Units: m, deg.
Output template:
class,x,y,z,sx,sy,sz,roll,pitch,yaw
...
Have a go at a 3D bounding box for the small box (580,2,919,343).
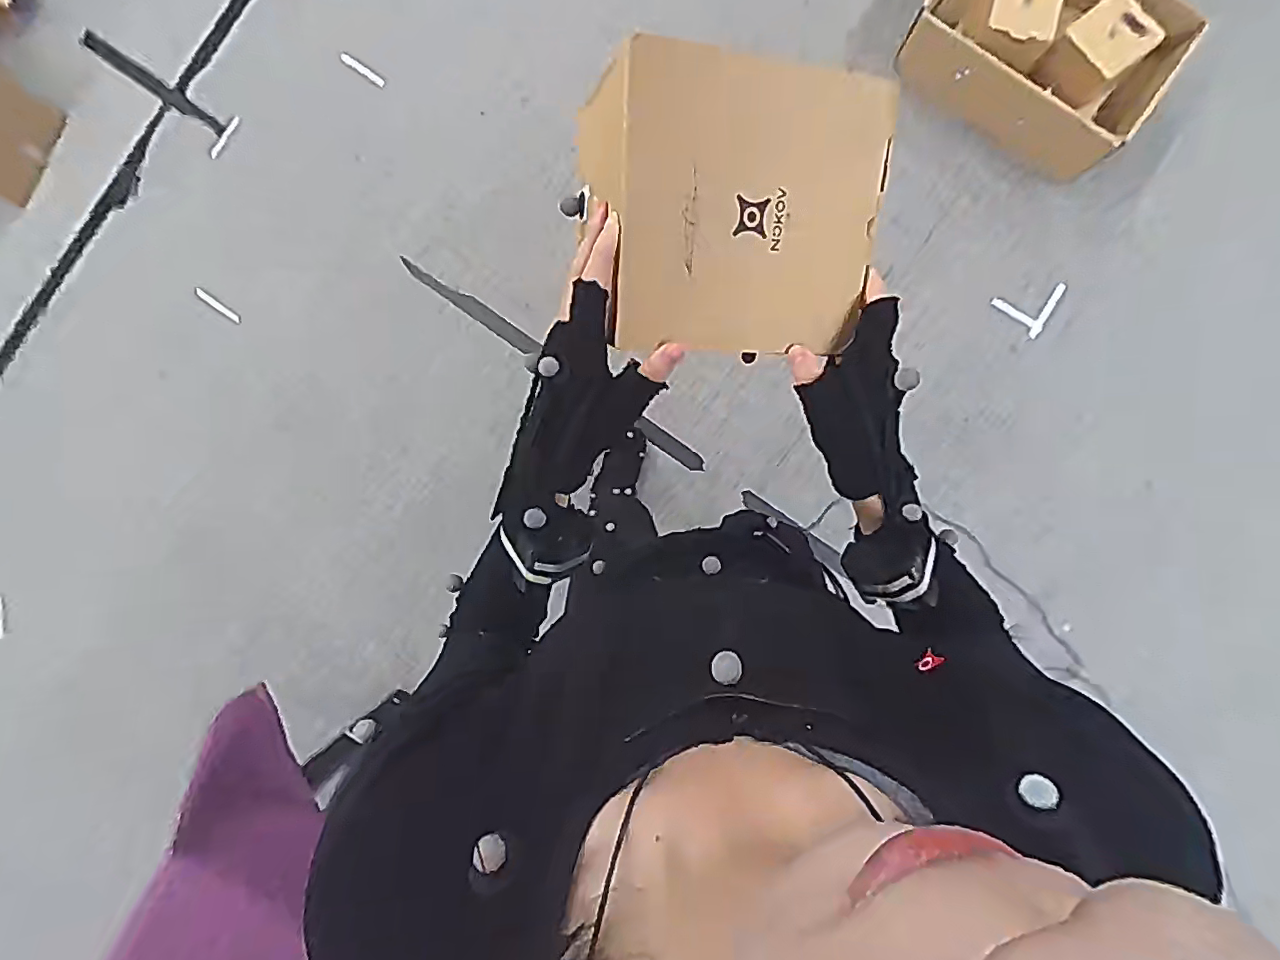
class,x,y,z,sx,sy,sz,roll,pitch,yaw
small box,0.057,-0.195,0.395,0.179,0.176,0.168,-1,109,-14
